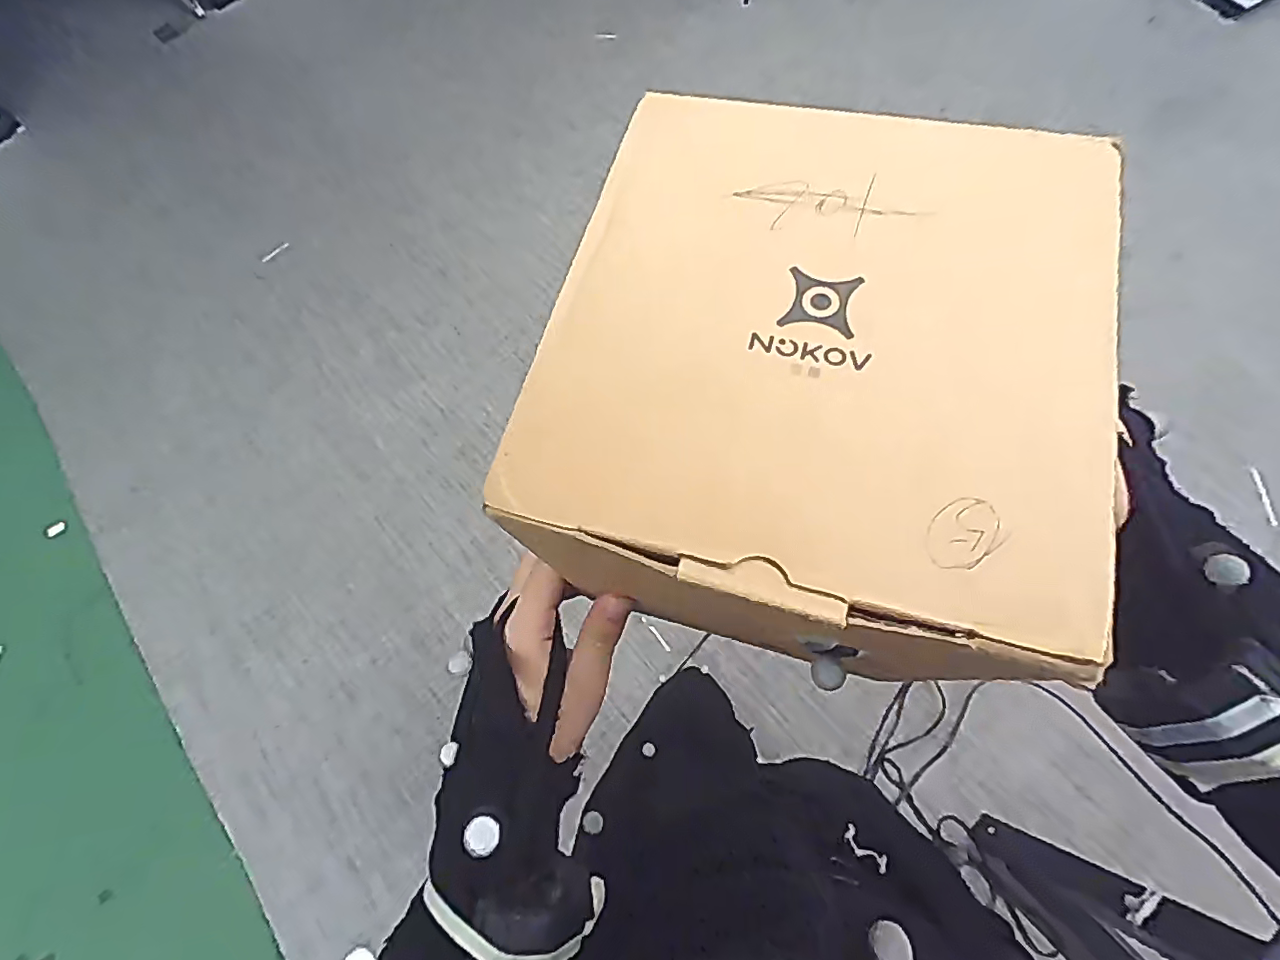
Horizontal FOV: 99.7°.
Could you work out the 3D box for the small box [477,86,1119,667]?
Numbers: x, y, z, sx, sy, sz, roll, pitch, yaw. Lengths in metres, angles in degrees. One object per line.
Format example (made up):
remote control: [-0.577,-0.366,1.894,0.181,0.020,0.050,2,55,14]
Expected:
small box: [0.060,-0.025,0.239,0.168,0.176,0.179,13,71,10]
